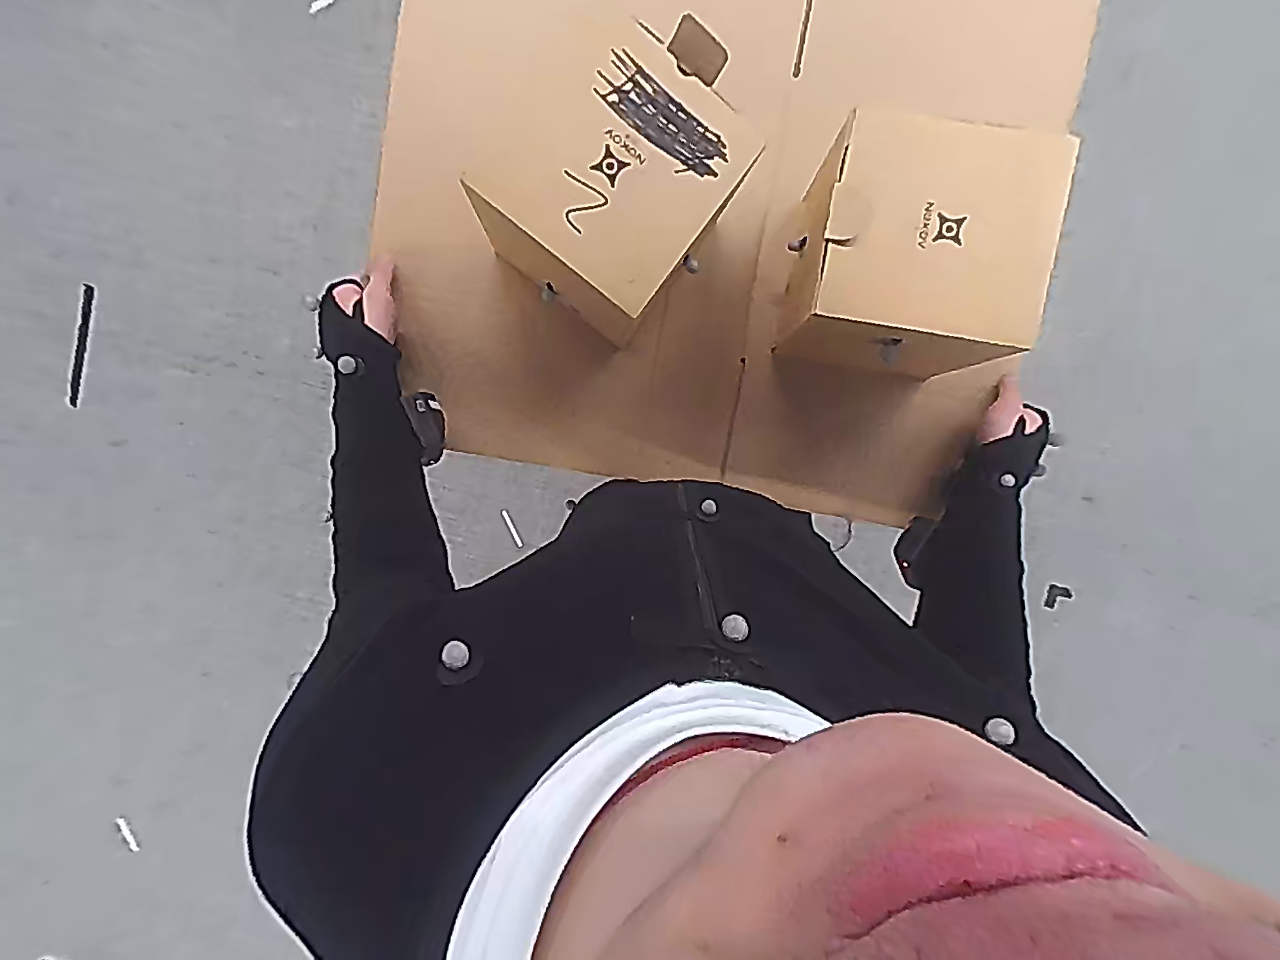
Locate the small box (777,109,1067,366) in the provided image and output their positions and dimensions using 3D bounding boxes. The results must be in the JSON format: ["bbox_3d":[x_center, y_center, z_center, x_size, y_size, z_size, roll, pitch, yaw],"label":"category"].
[{"bbox_3d":[0.245,-0.210,0.518,0.179,0.176,0.168,10,94,3],"label":"small box"}]
